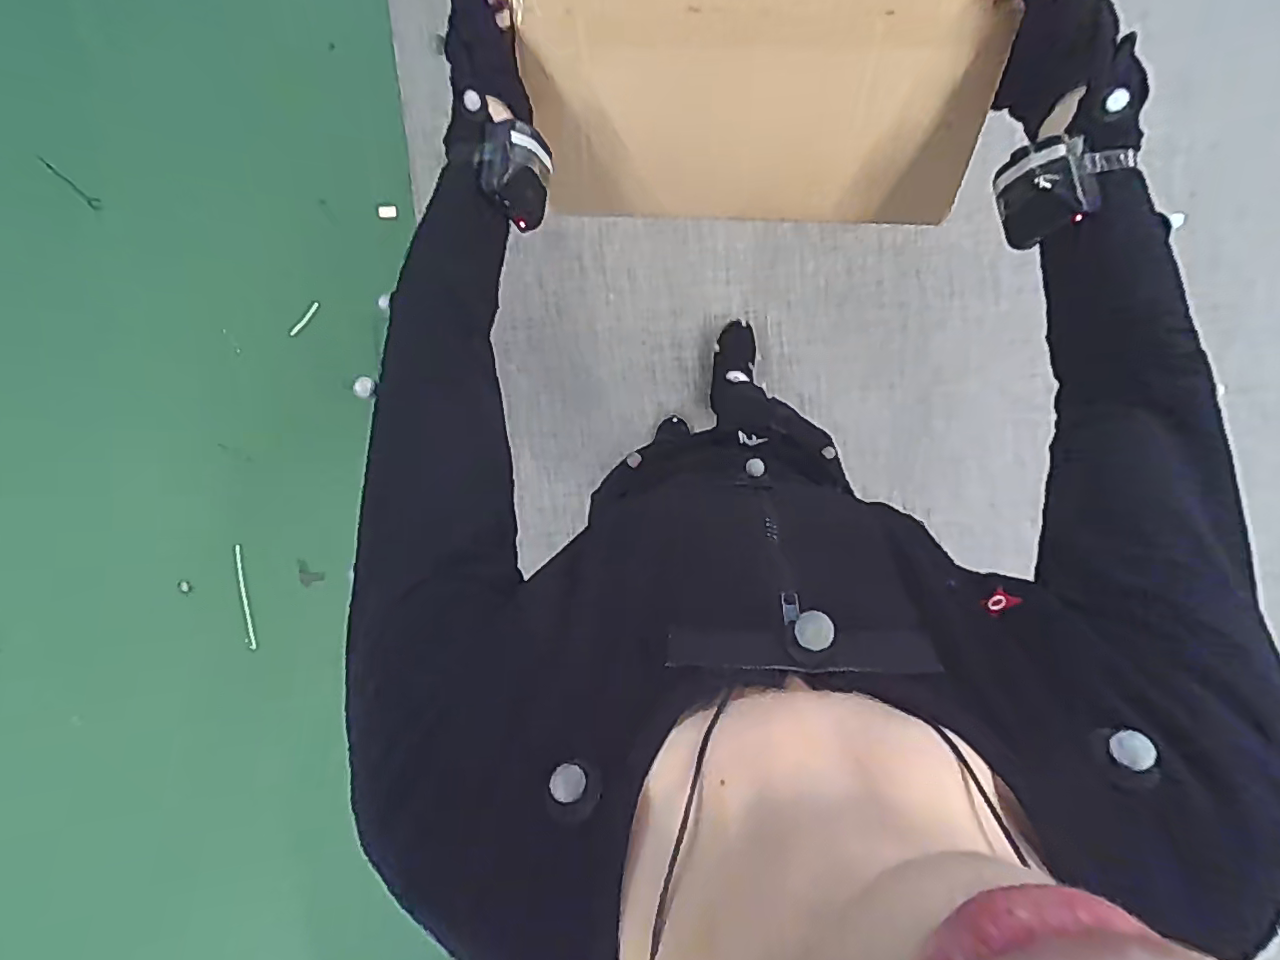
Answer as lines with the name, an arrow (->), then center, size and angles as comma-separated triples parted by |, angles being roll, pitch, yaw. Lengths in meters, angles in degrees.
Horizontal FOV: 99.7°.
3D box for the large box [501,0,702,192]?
large box -> -0.074, -0.919, 1.278 | 0.408, 0.320, 0.320 | -5, 95, 3
